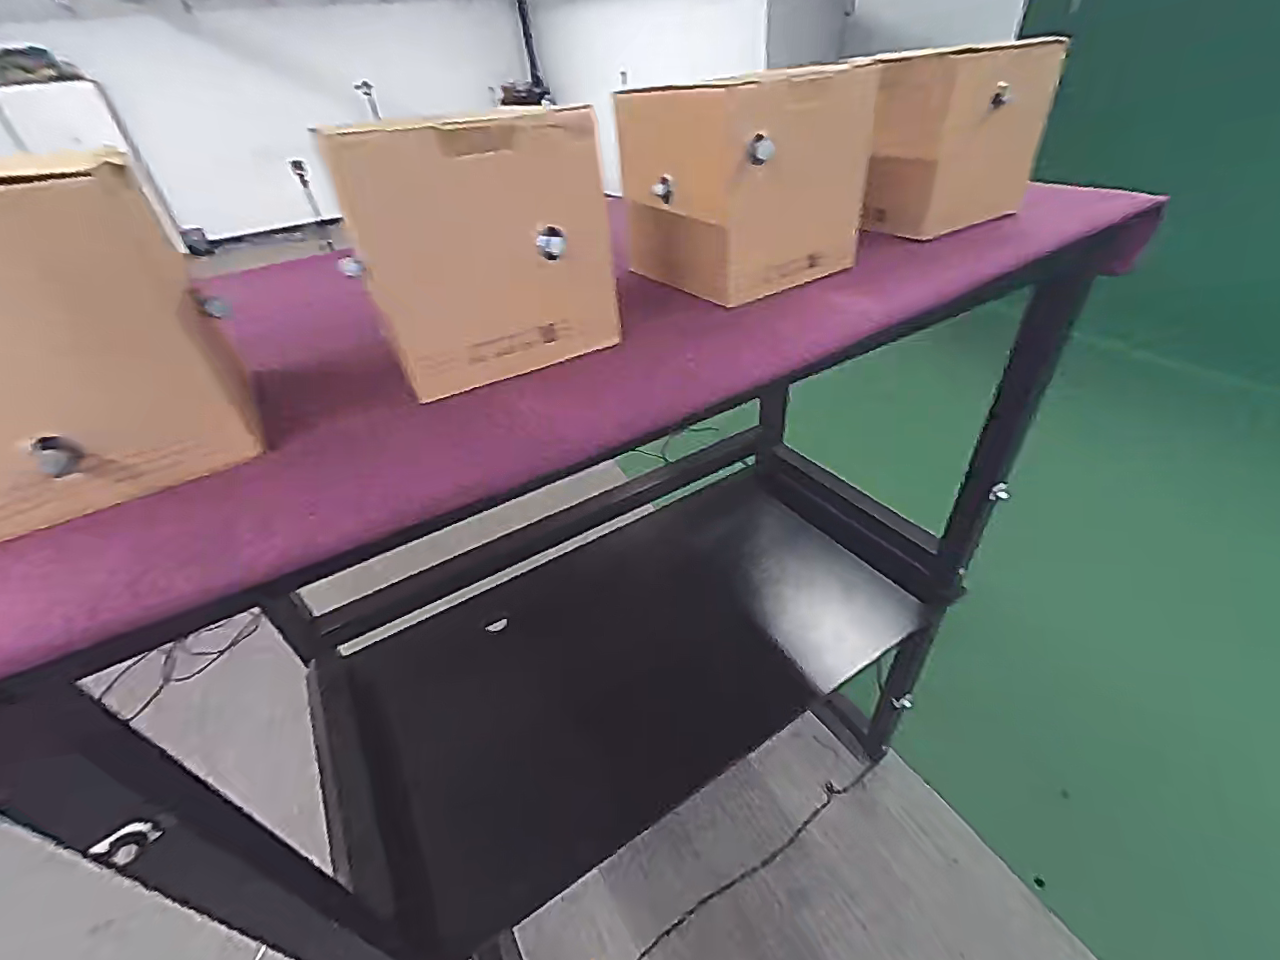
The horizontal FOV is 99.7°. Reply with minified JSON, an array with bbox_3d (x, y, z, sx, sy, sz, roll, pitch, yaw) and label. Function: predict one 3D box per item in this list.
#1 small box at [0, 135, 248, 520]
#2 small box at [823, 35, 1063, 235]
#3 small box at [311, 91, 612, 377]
[{"bbox_3d":[-0.364,-0.094,0.322,0.179,0.176,0.168,-24,41,-25],"label":"small box"},{"bbox_3d":[0.336,-0.400,0.636,0.179,0.176,0.168,-23,40,-22],"label":"small box"},{"bbox_3d":[-0.134,-0.196,0.429,0.168,0.176,0.179,-21,39,-21],"label":"small box"}]
